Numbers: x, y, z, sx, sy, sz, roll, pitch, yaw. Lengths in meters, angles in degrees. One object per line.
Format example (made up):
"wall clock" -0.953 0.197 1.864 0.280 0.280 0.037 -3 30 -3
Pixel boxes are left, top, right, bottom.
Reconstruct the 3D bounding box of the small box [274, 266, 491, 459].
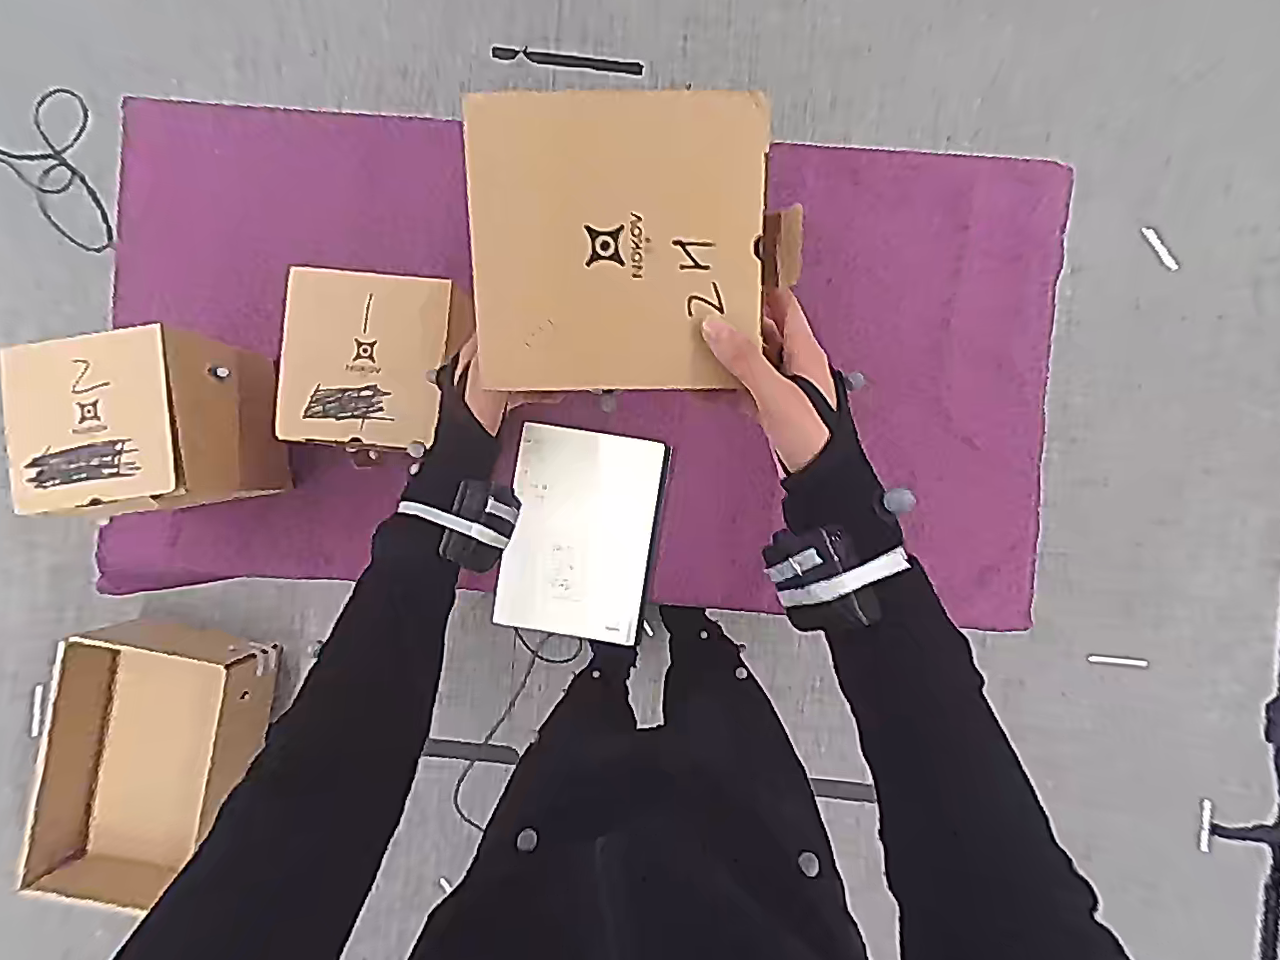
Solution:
"small box" -0.273 -0.119 0.615 0.168 0.176 0.179 6 89 0

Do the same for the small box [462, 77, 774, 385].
"small box" -0.014 -0.153 0.390 0.179 0.176 0.168 0 101 -2
